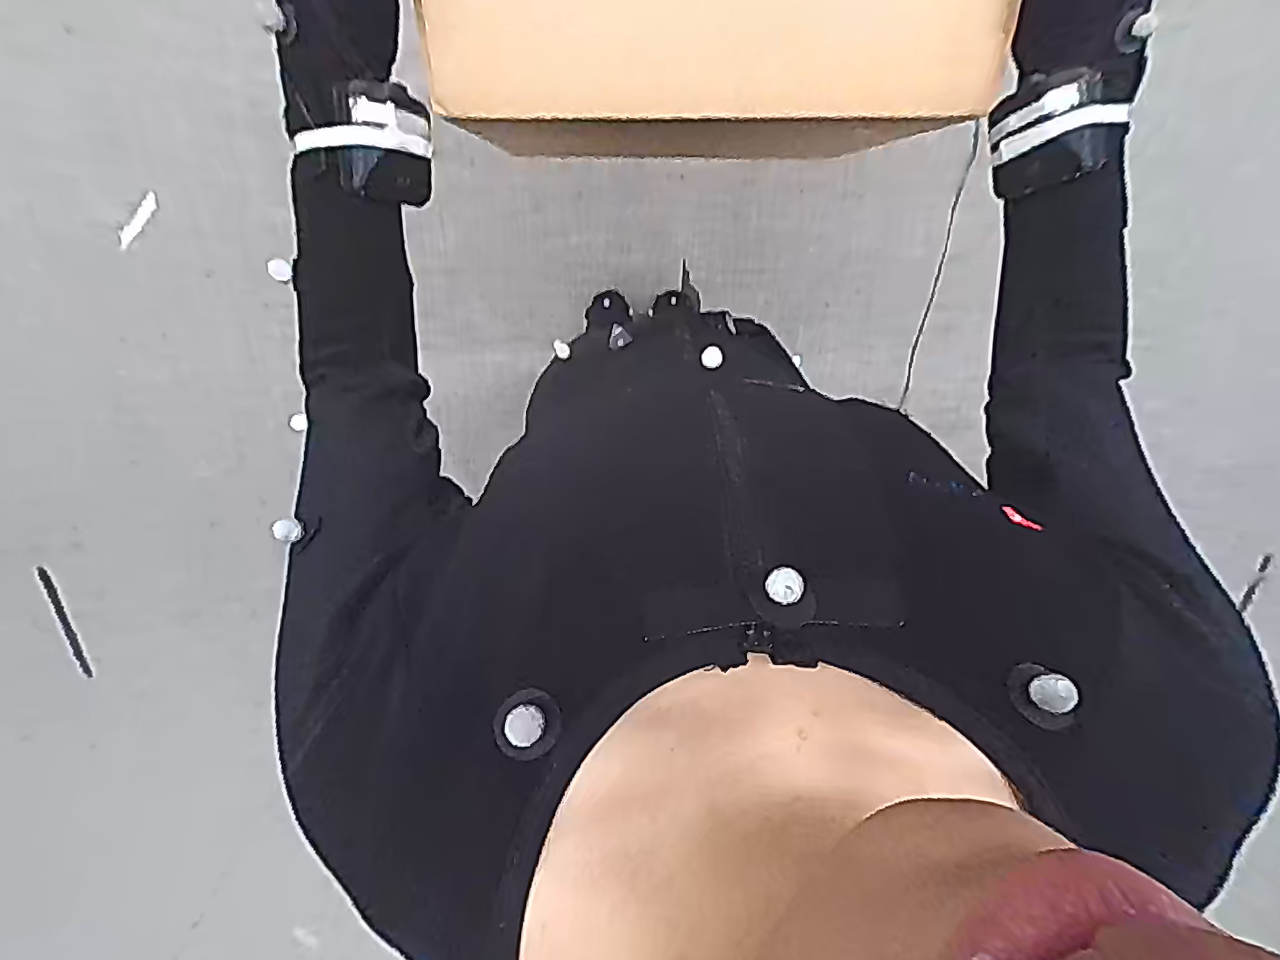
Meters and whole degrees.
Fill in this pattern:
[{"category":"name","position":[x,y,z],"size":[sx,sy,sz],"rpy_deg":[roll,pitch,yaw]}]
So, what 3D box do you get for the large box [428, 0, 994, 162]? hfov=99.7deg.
[{"category":"large box","position":[0.041,-0.474,0.468],"size":[0.408,0.320,0.320],"rpy_deg":[-2,116,-2]}]
